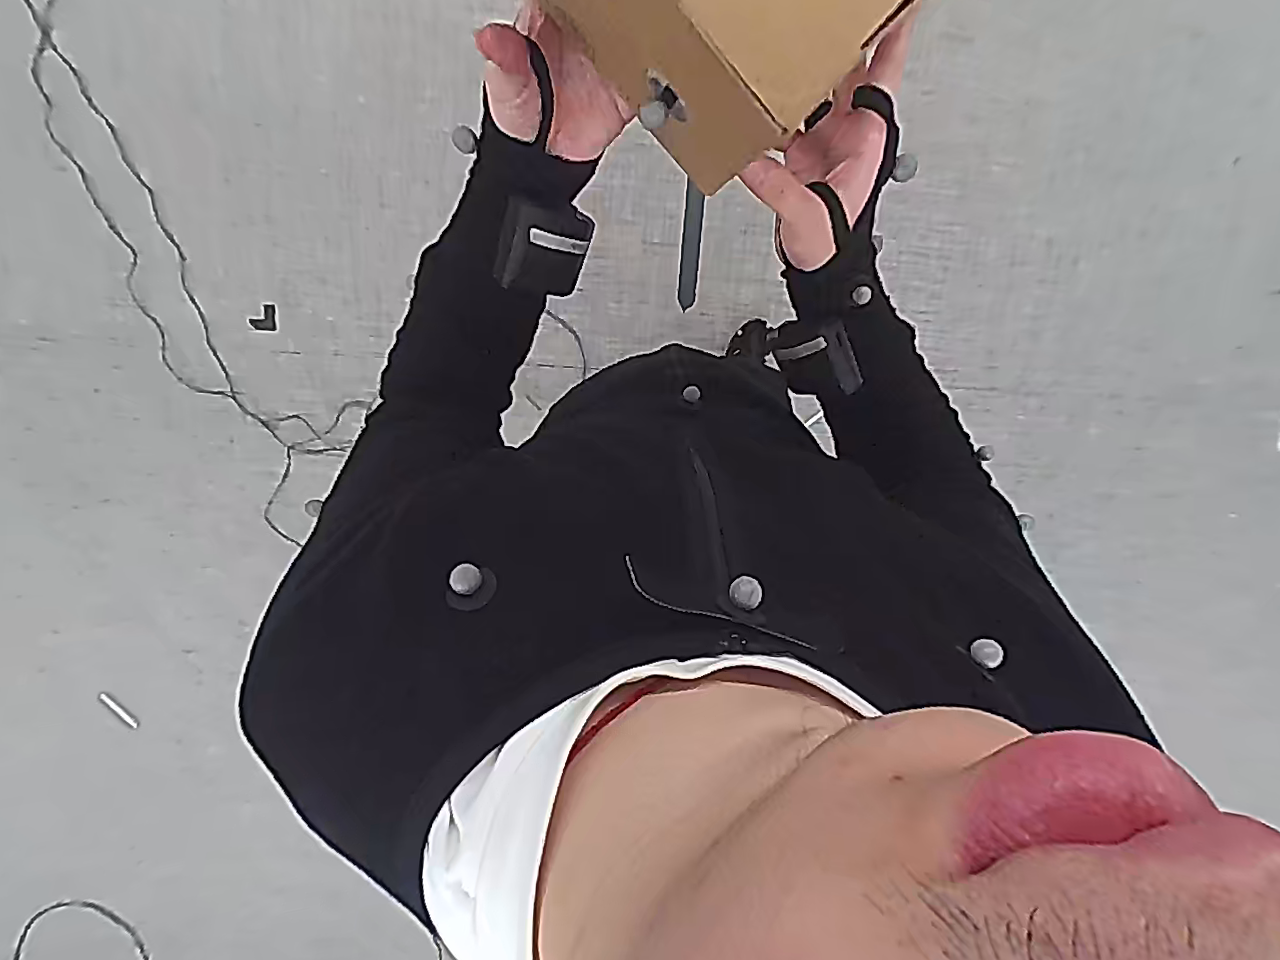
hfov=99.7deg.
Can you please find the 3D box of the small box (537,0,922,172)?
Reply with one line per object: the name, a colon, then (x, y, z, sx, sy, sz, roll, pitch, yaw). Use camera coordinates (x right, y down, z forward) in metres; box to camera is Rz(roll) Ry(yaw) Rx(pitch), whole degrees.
small box: (0.040, -0.254, 0.214, 0.179, 0.176, 0.168, 41, 104, -16)
